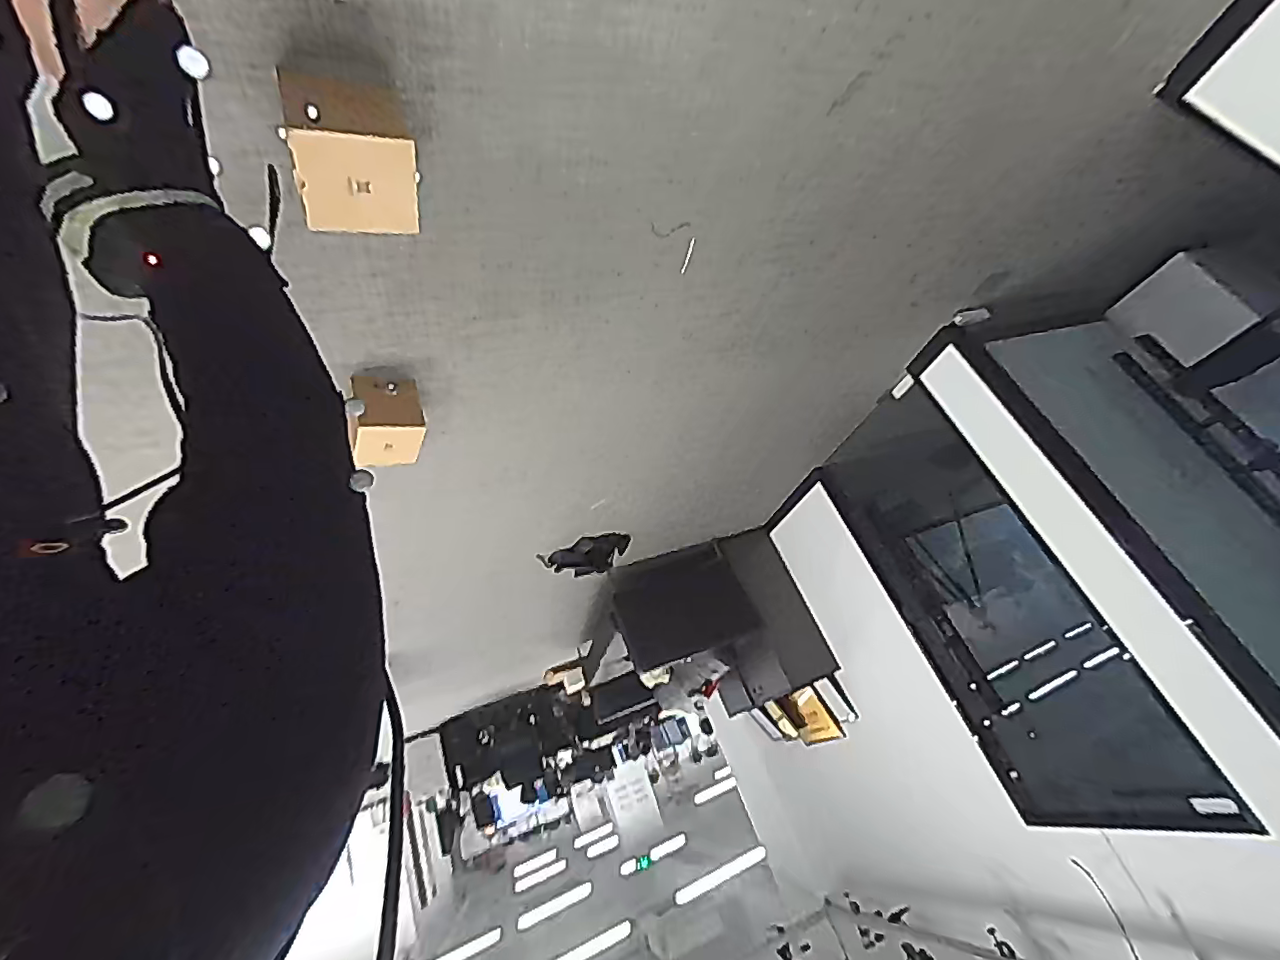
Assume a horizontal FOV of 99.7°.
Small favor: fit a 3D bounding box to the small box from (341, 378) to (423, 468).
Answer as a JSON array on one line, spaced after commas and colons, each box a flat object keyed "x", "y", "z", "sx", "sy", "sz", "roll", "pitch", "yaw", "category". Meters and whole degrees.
[{"x": -0.706, "y": -0.152, "z": 1.468, "sx": 0.168, "sy": 0.176, "sz": 0.179, "roll": -5, "pitch": 149, "yaw": -37, "category": "small box"}]

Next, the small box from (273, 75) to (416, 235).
[{"x": -0.484, "y": -0.534, "z": 0.899, "sx": 0.179, "sy": 0.176, "sz": 0.168, "roll": -11, "pitch": 152, "yaw": -25, "category": "small box"}]
